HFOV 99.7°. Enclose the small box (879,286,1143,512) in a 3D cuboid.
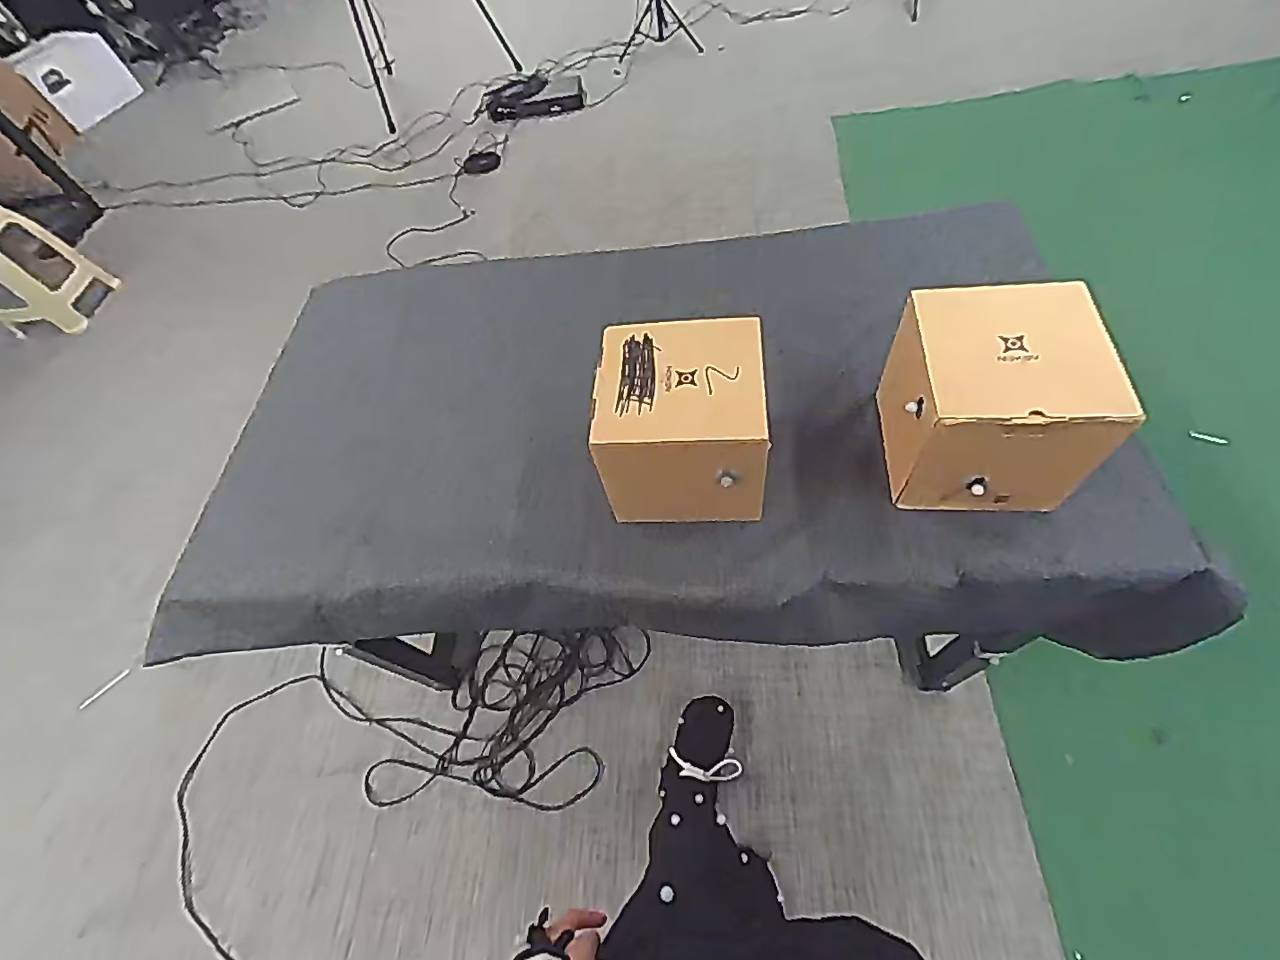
[{"bbox_3d":[0.370,-0.083,0.585,0.168,0.176,0.179,0,59,10],"label":"small box"}]
